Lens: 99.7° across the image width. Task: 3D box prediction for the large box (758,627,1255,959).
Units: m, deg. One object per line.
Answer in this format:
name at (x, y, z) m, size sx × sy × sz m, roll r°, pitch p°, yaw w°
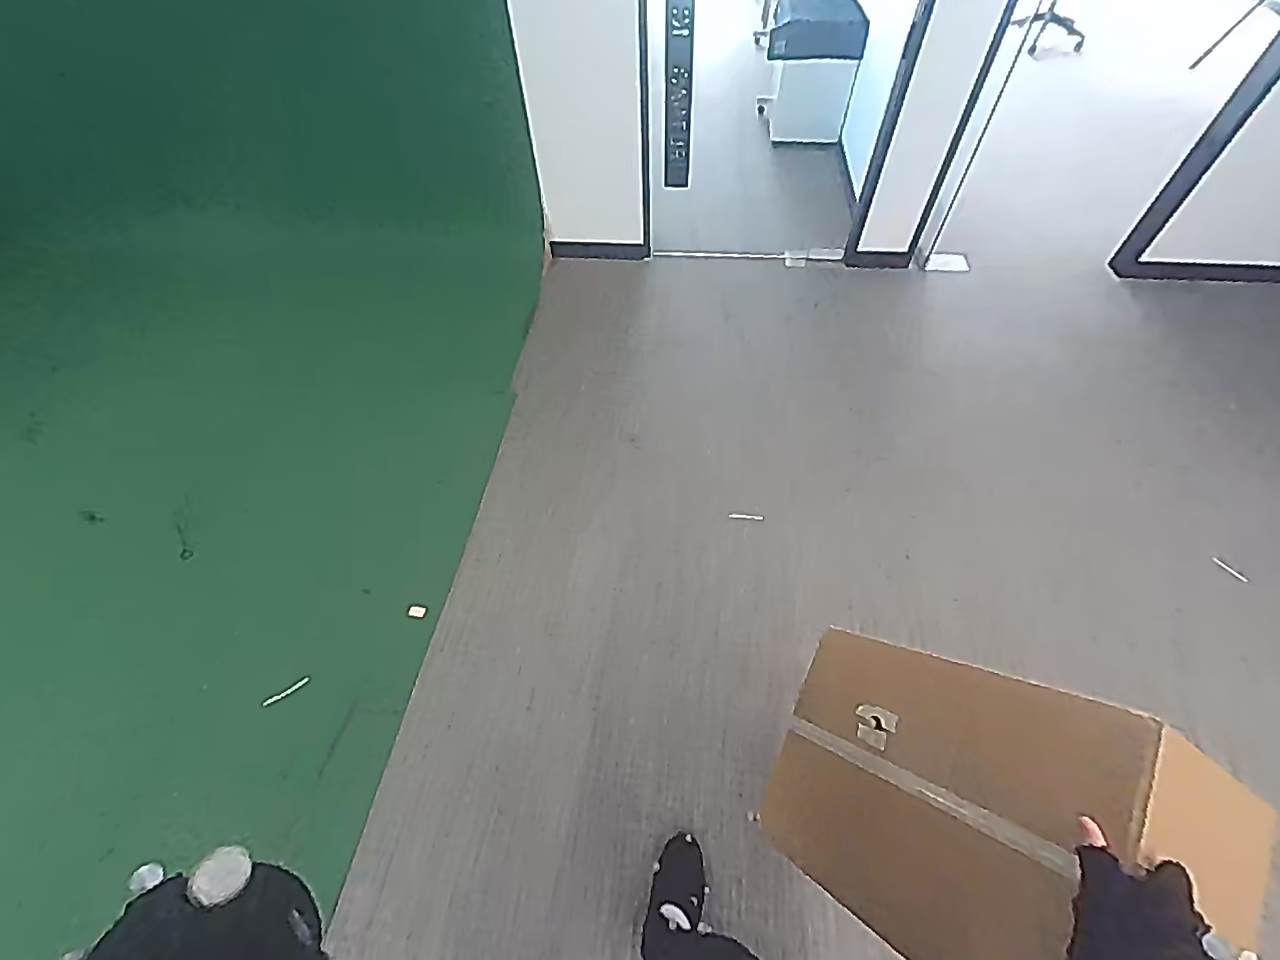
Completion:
large box at (0.438, 0.424, 0.694) m, size 0.320 × 0.408 × 0.320 m, roll 33°, pitch 73°, yaw -22°
